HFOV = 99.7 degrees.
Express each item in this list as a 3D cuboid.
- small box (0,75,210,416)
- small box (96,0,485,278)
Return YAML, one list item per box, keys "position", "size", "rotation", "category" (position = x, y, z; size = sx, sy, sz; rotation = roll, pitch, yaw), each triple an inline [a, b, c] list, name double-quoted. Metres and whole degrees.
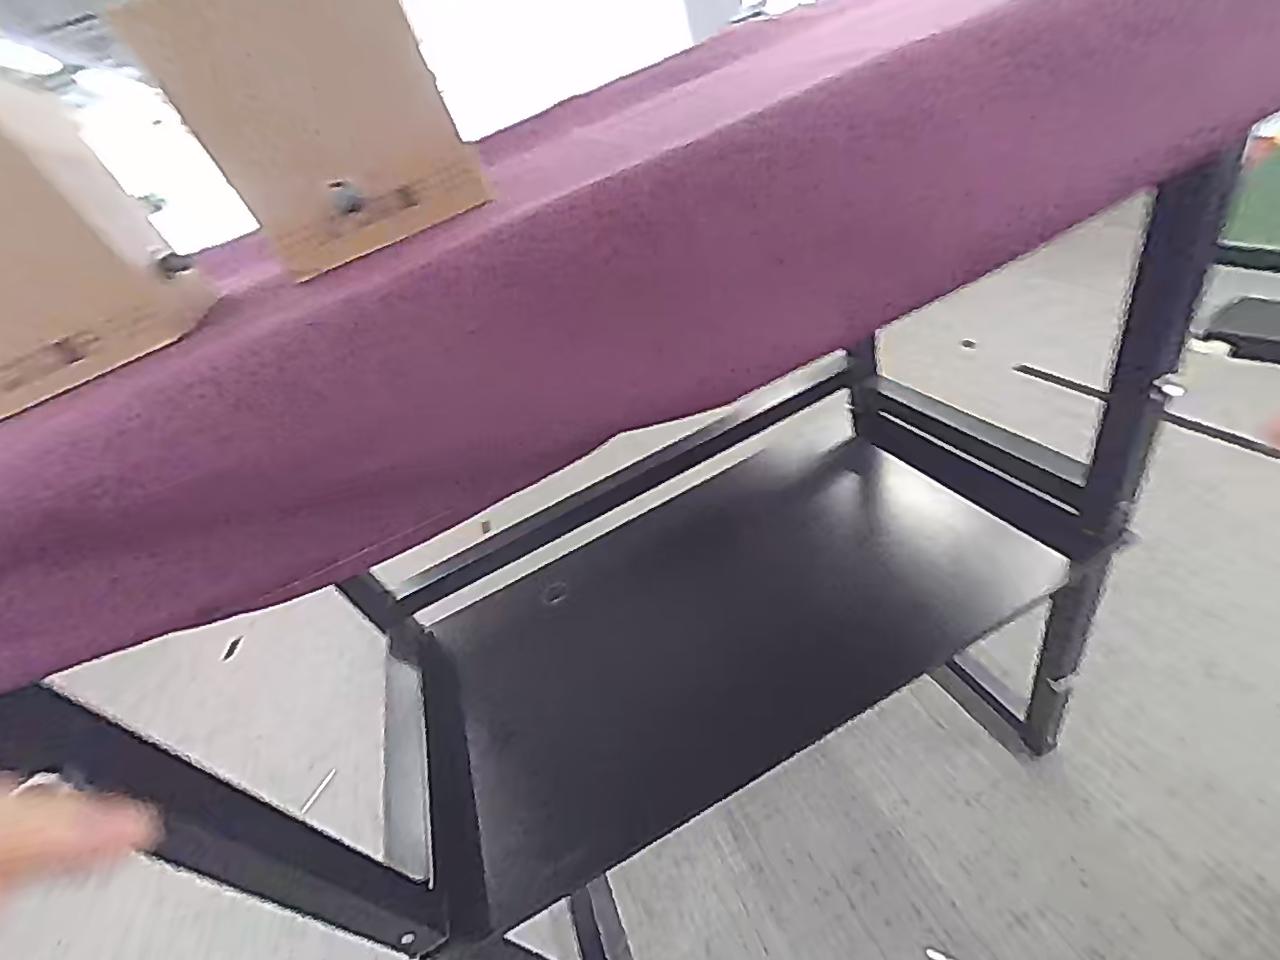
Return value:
- position: [-0.446, -0.153, 0.372]
  size: [0.168, 0.176, 0.179]
  rotation: [-33, 37, -13]
  category: "small box"
- position: [-0.244, -0.281, 0.430]
  size: [0.168, 0.176, 0.179]
  rotation: [-29, 37, -7]
  category: "small box"
